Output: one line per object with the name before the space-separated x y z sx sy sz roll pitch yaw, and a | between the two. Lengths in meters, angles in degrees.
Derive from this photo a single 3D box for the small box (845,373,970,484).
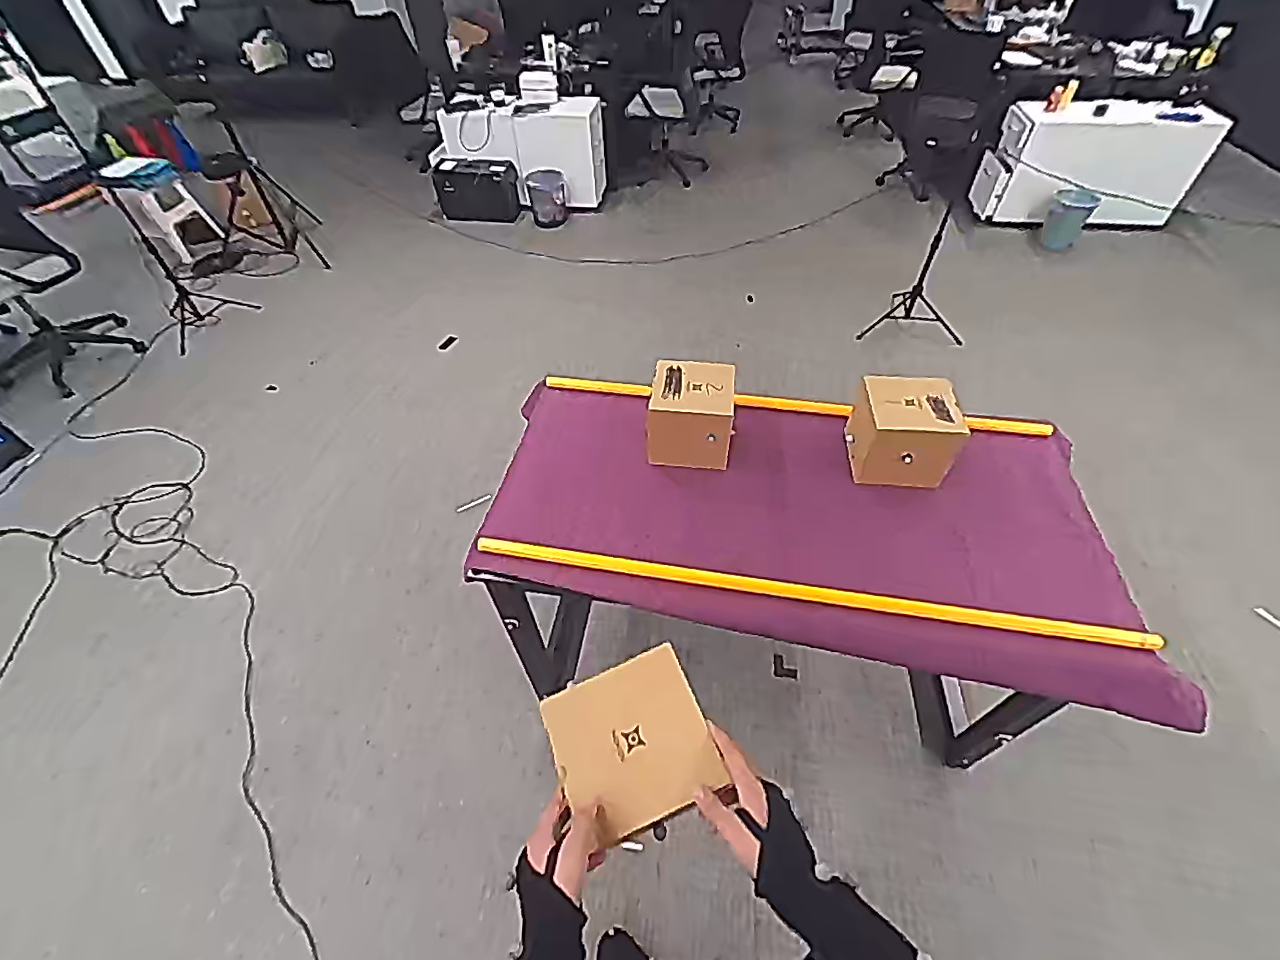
small box | 0.549 -0.105 1.137 0.179 0.176 0.168 3 50 6

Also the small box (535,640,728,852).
small box | -0.005 0.325 0.670 0.179 0.176 0.168 -24 59 -4
